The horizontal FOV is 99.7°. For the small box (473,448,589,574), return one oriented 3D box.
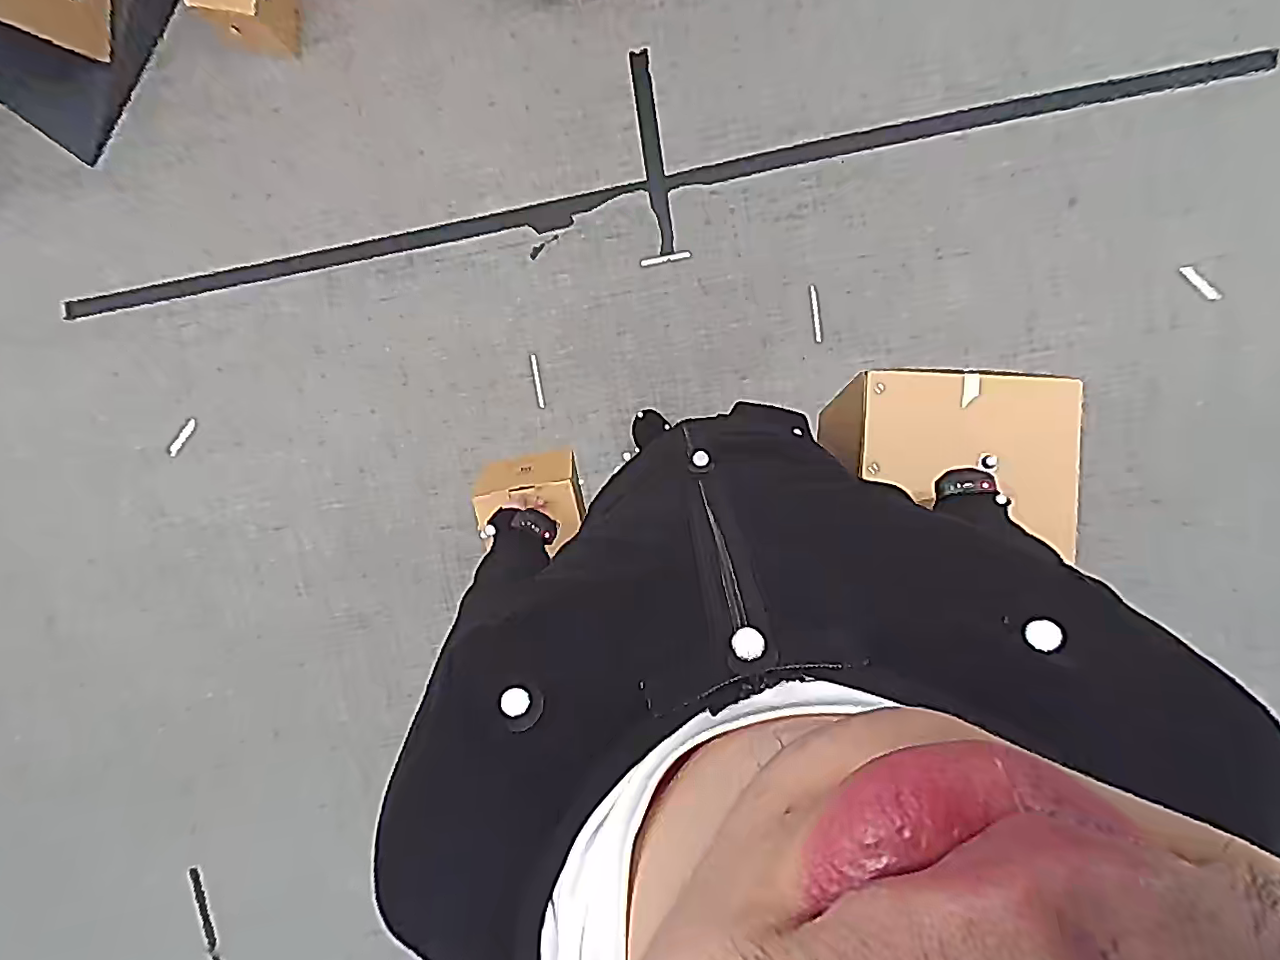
[{"bbox_3d":[-0.189,0.059,0.991,0.168,0.179,0.176,-10,111,-2],"label":"small box"}]
